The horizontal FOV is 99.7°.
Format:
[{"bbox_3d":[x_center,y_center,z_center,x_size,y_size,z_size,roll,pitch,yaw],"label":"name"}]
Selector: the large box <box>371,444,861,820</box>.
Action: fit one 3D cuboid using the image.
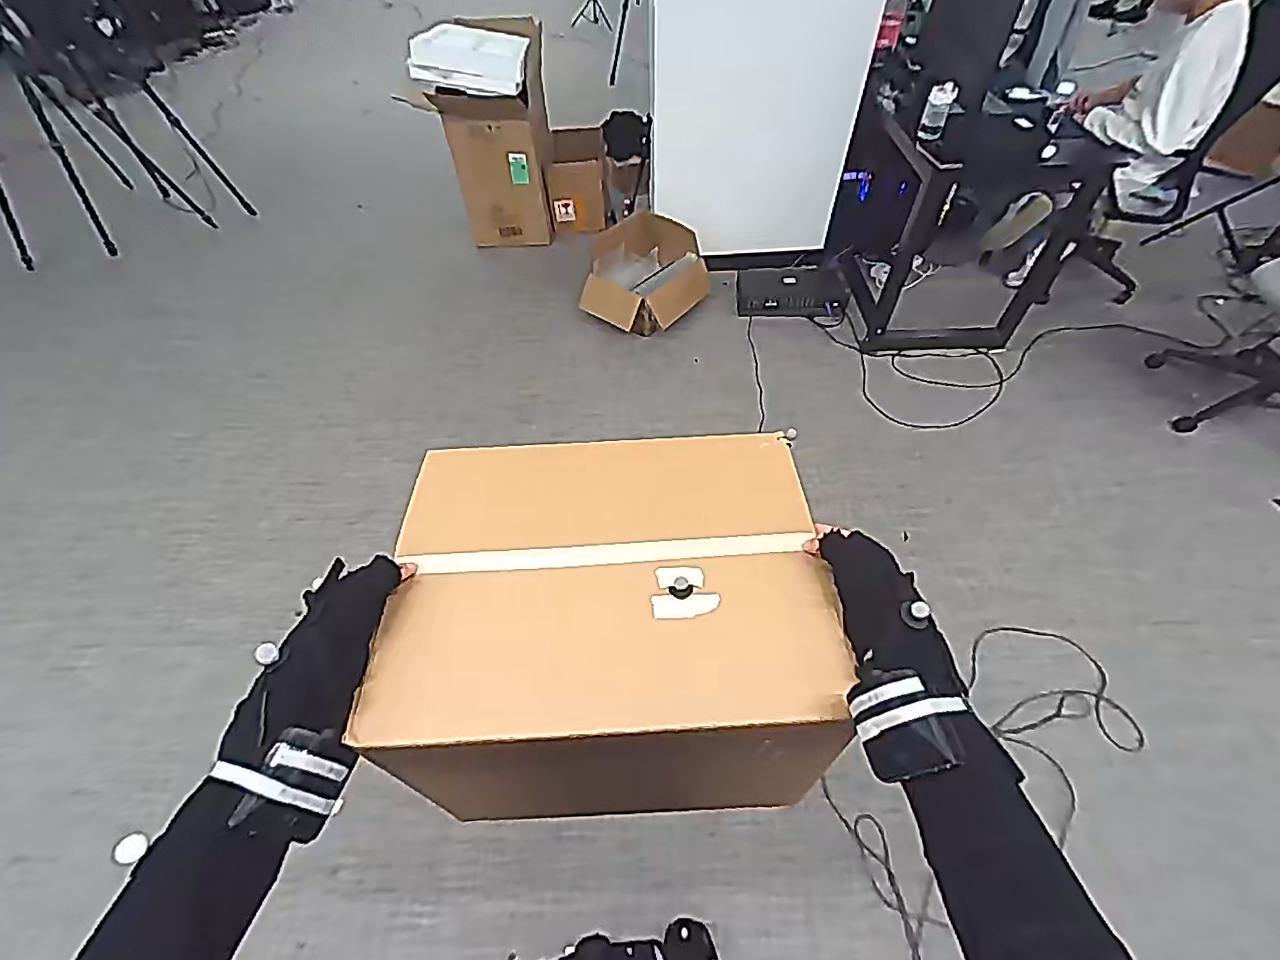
[{"bbox_3d":[-0.023,0.182,0.639,0.408,0.320,0.320,-3,49,0],"label":"large box"}]
